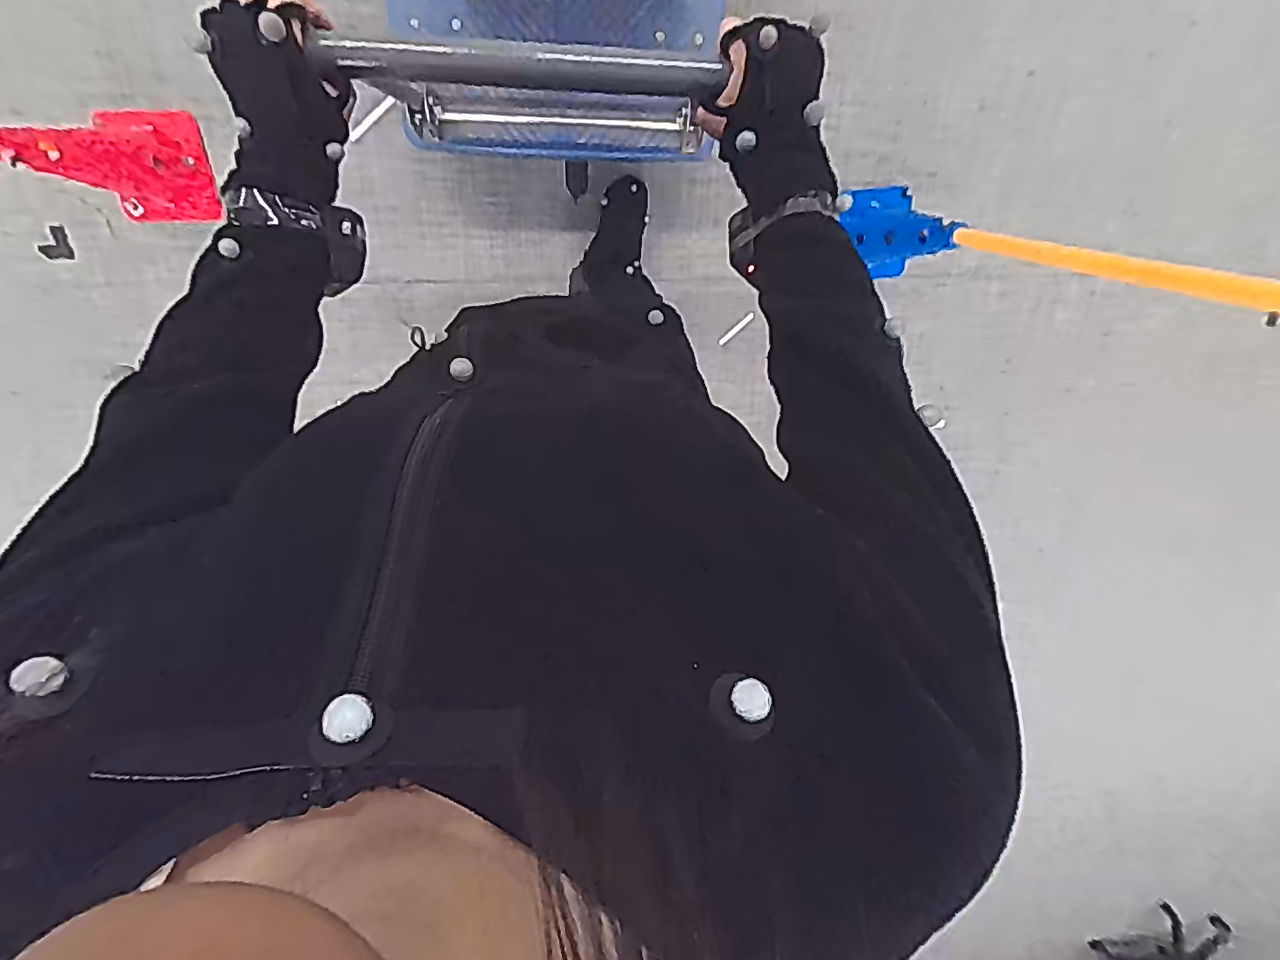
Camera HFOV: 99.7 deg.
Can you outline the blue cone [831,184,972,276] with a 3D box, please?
[{"bbox_3d":[0.559,-0.523,1.130,0.193,0.380,0.192,-5,114,-3],"label":"blue cone"}]
